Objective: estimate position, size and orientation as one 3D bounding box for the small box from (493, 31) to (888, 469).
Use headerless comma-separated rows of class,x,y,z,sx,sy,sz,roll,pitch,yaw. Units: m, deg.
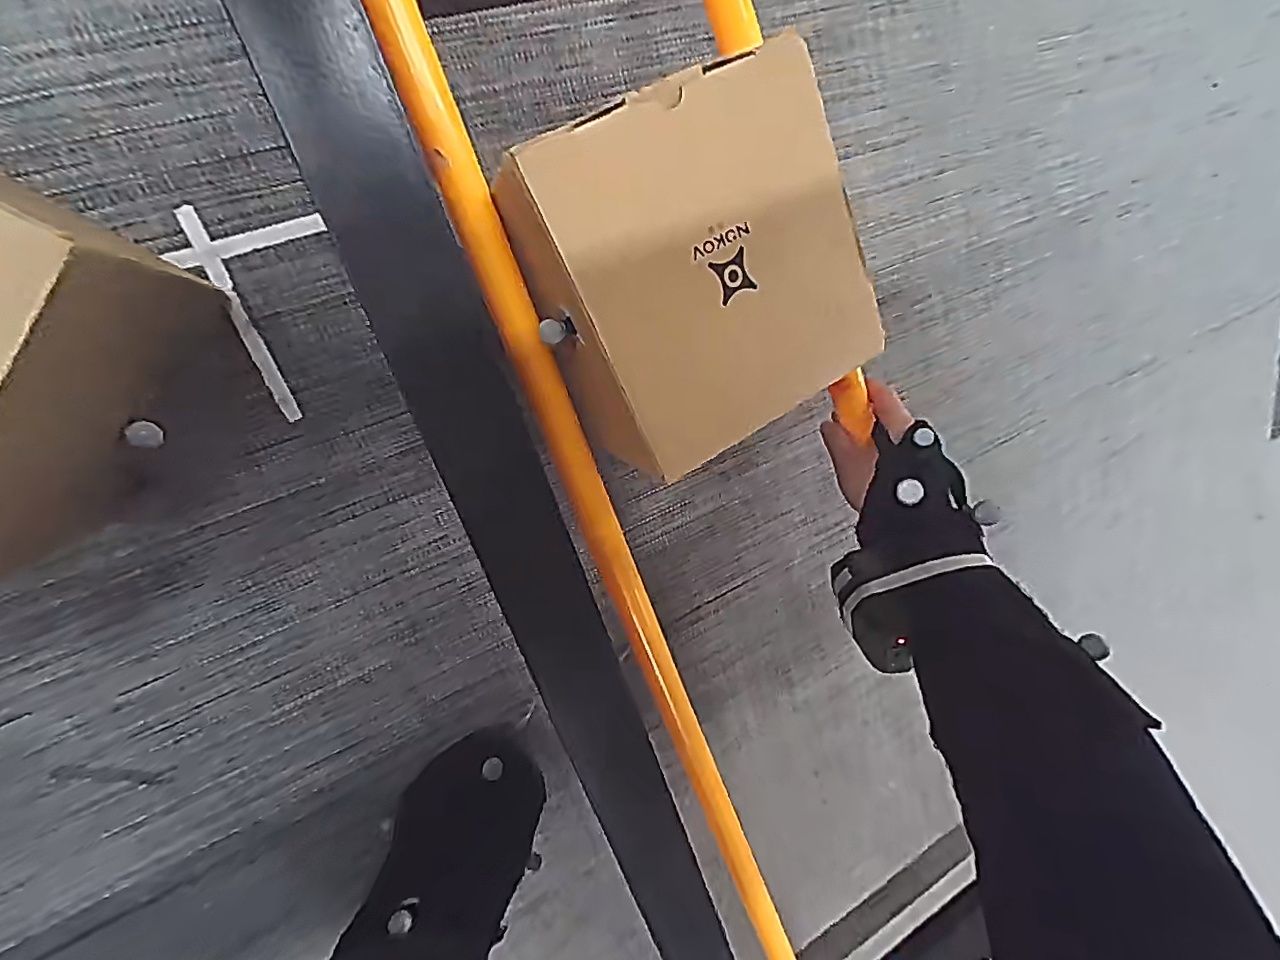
small box,0.022,-0.132,0.358,0.168,0.176,0.179,-31,110,-13
